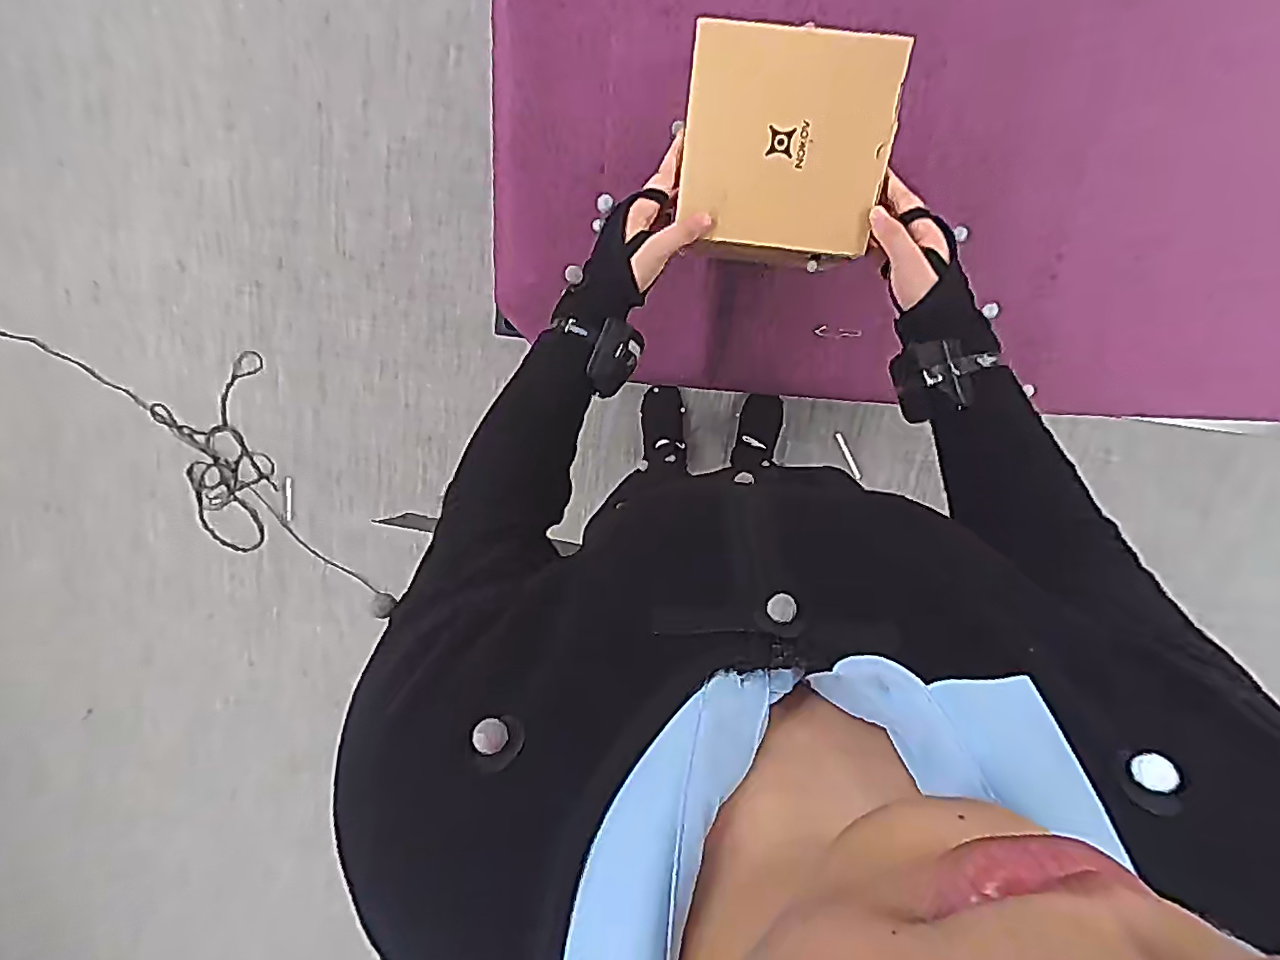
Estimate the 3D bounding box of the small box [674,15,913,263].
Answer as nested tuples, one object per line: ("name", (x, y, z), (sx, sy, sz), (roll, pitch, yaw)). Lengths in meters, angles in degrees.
("small box", (0.130, -0.315, 0.536), (0.179, 0.176, 0.168), (7, 108, 2))
